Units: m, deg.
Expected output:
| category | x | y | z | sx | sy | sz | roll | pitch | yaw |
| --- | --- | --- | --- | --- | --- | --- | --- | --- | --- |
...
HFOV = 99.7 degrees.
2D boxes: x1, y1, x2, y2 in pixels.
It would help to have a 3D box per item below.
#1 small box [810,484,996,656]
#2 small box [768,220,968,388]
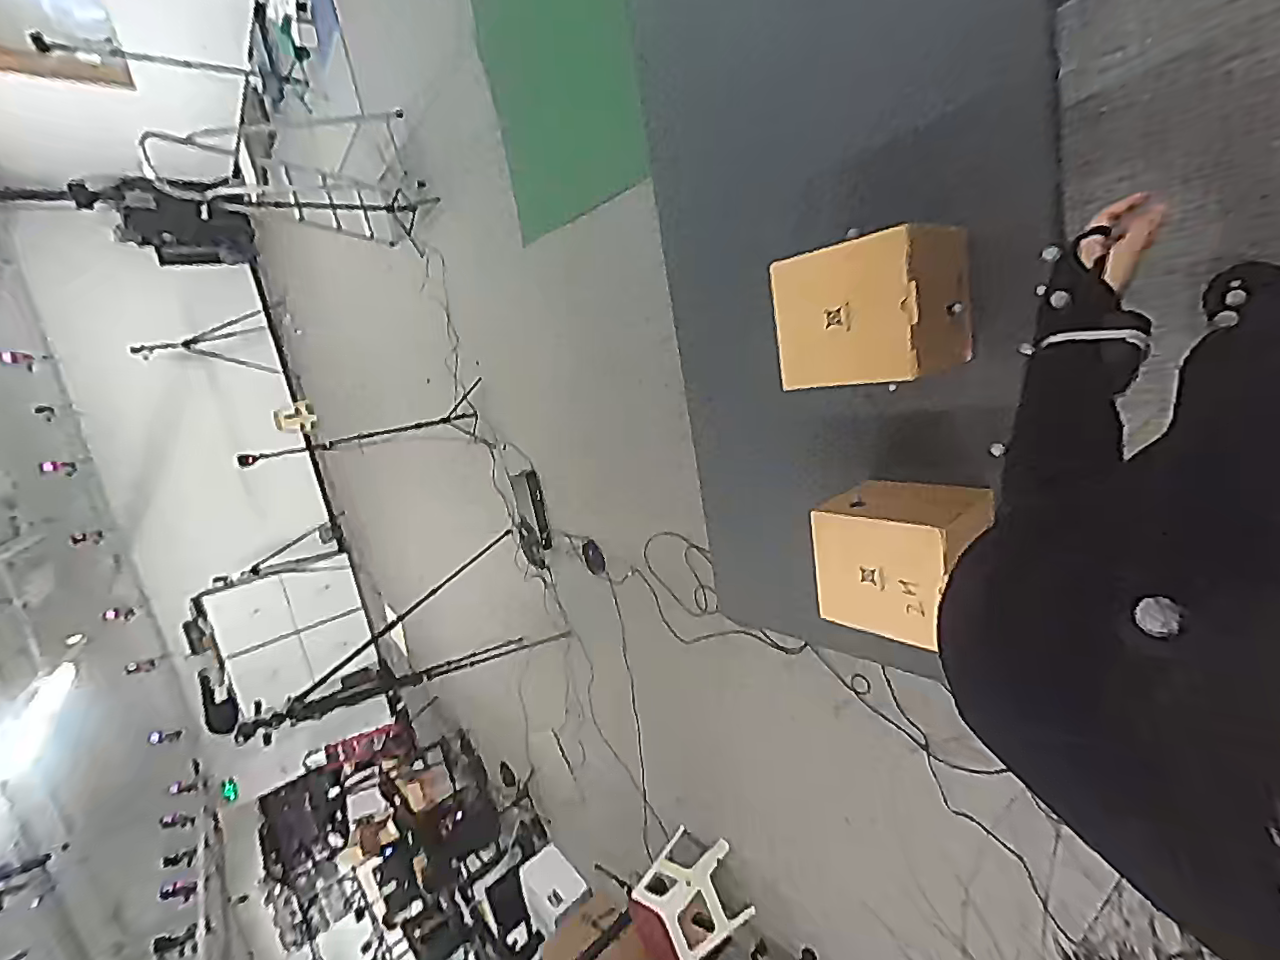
| category | x | y | z | sx | sy | sz | roll | pitch | yaw |
| --- | --- | --- | --- | --- | --- | --- | --- | --- | --- |
| small box | 0.359 | 0.106 | 0.739 | 0.179 | 0.176 | 0.168 | 5 | 109 | 48 |
| small box | 0.291 | -0.215 | 0.690 | 0.179 | 0.176 | 0.168 | 3 | 107 | 48 |
